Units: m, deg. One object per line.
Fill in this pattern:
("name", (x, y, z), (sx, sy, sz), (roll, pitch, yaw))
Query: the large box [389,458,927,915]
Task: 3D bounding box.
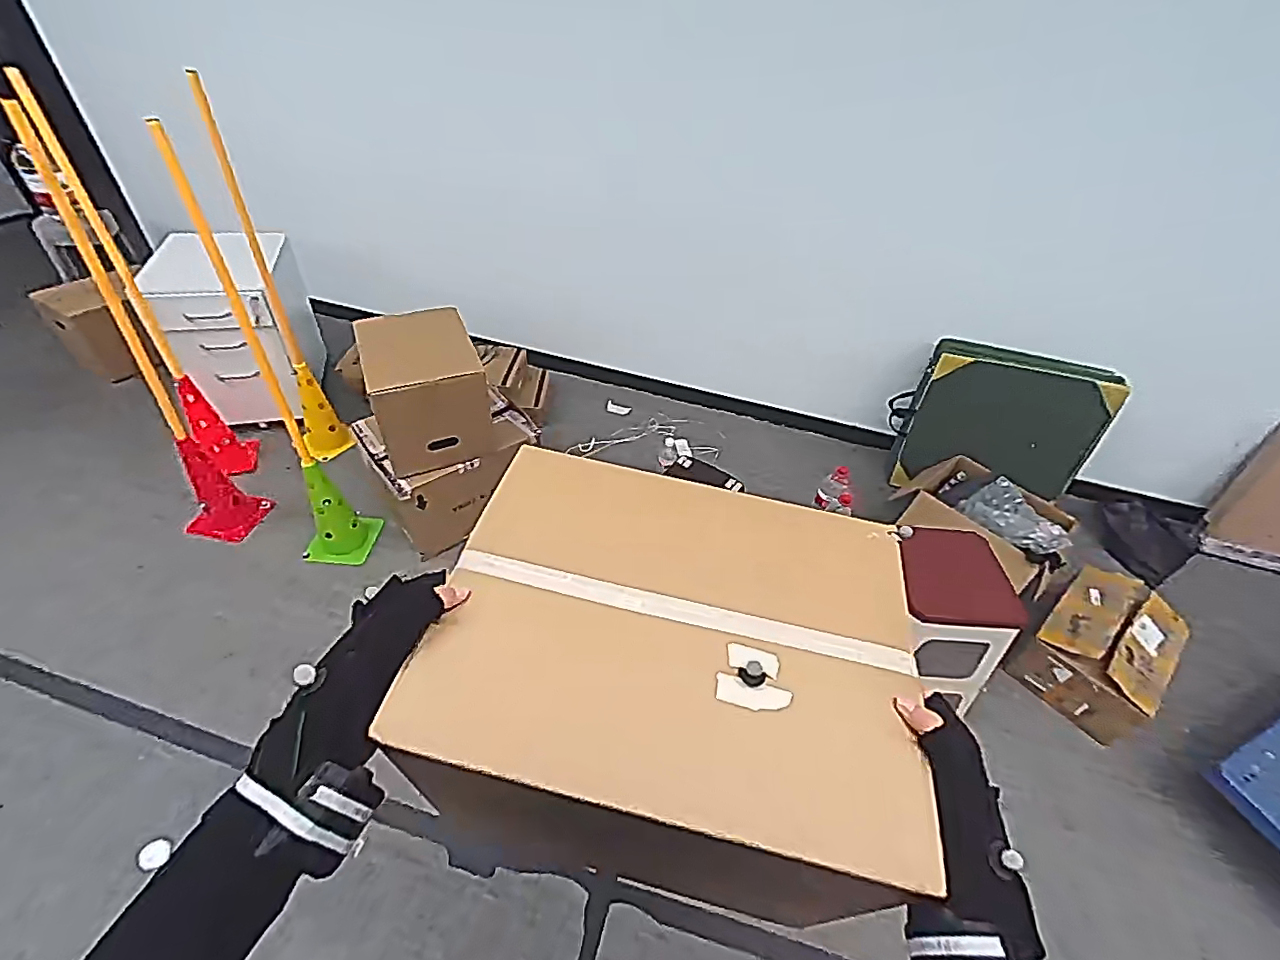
("large box", (0.020, 0.222, 0.592), (0.408, 0.320, 0.320), (13, 48, 5))
